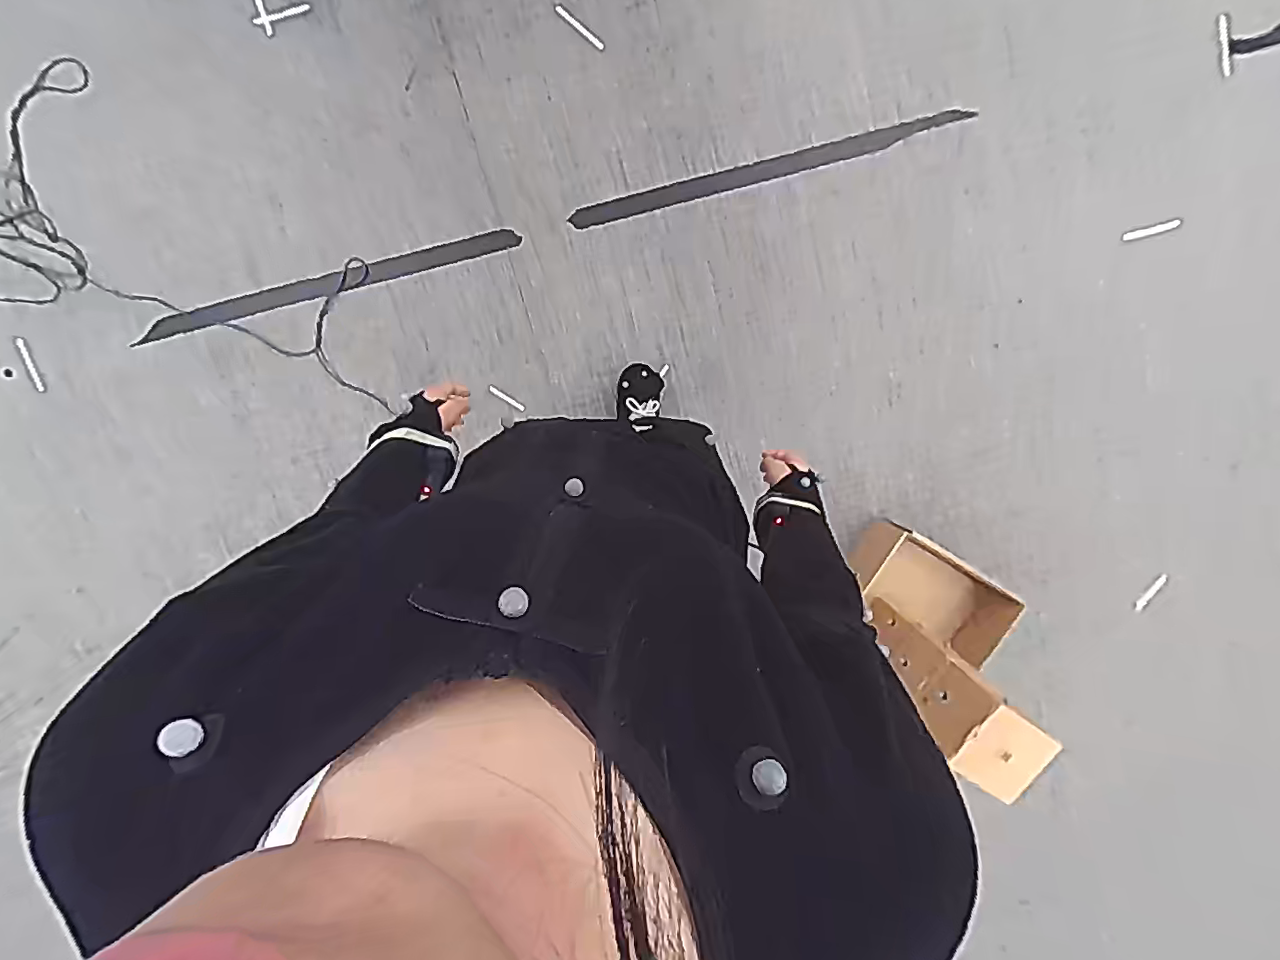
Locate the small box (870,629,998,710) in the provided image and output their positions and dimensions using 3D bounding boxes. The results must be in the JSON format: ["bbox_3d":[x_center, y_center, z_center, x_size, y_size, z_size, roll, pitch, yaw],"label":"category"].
[{"bbox_3d":[0.699,0.488,1.310,0.179,0.176,0.168,35,98,-8],"label":"small box"}]

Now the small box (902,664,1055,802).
[{"bbox_3d":[0.709,0.528,1.152,0.179,0.176,0.168,34,98,-8],"label":"small box"}]
